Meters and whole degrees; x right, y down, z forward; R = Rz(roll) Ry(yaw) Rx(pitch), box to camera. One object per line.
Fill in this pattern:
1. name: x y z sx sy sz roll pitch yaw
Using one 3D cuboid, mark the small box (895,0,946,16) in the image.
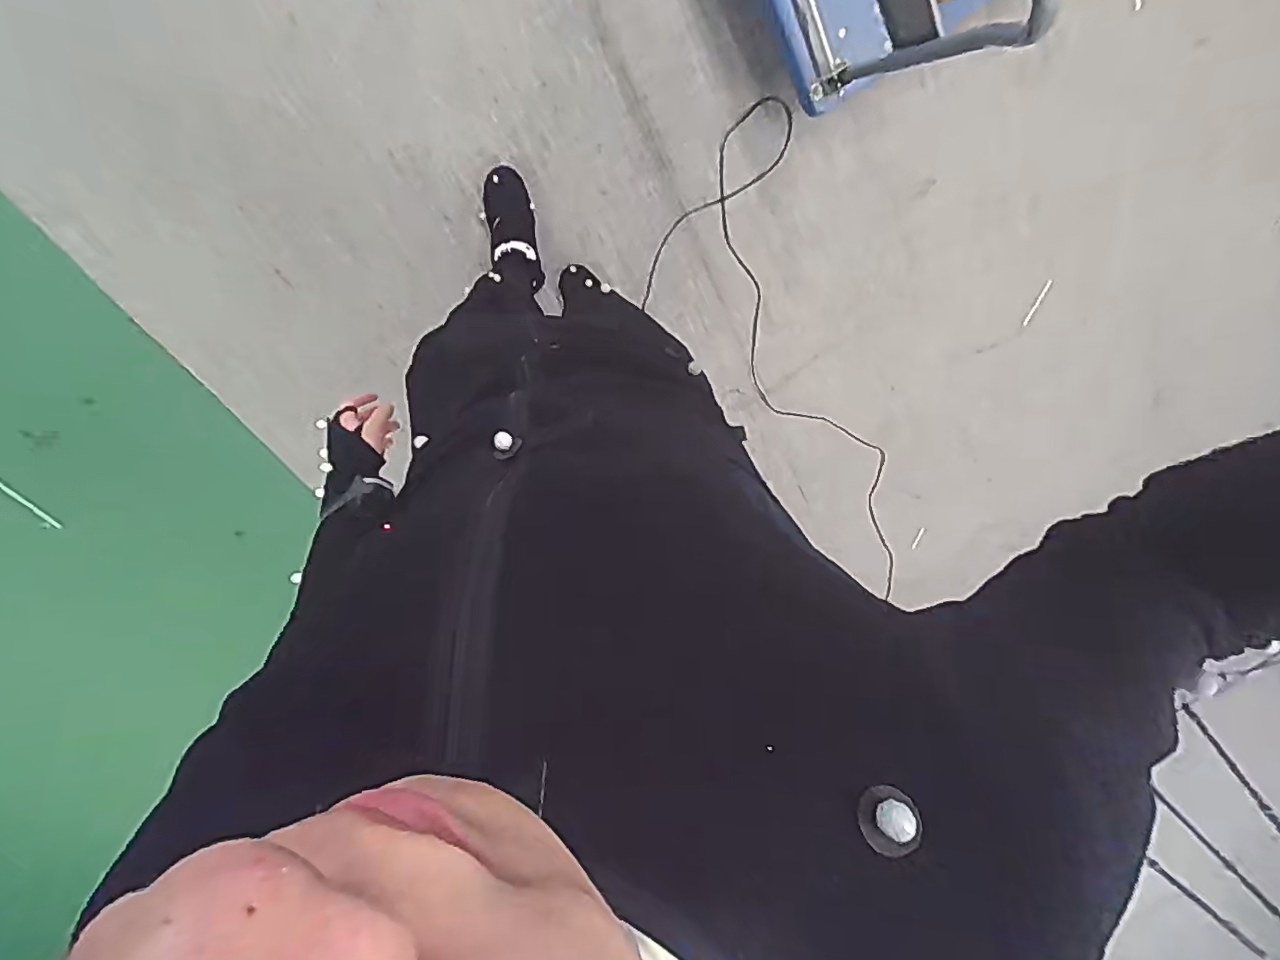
1. small box: 0.579 -1.004 0.986 0.179 0.176 0.168 -30 119 9
